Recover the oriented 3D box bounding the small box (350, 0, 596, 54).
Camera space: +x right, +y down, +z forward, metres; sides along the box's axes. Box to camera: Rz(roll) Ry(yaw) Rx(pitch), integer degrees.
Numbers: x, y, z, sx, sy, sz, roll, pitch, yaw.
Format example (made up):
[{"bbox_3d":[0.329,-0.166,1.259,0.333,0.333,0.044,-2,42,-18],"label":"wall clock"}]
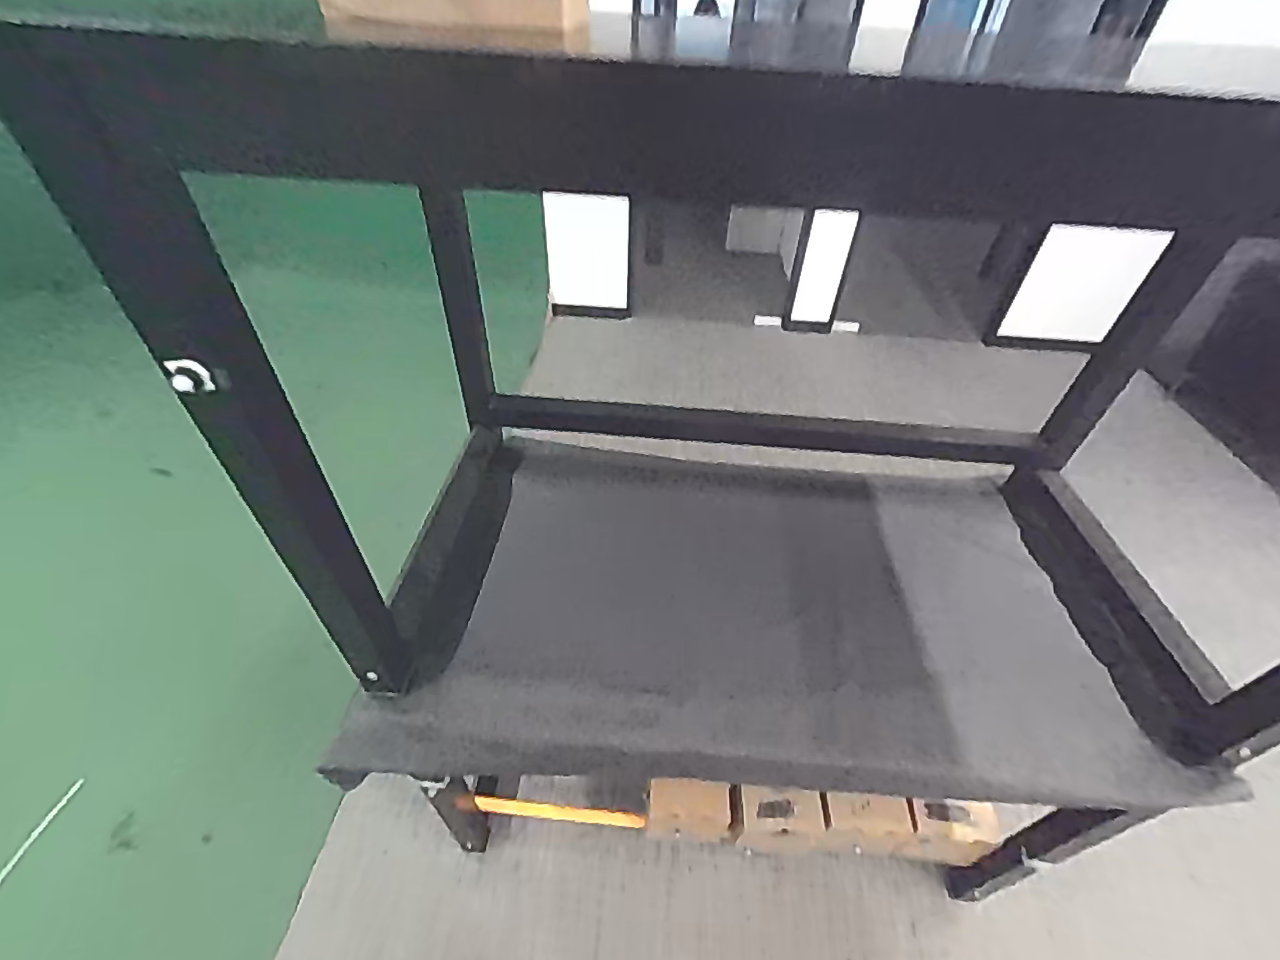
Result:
[{"bbox_3d":[-0.120,-0.424,0.387,0.168,0.176,0.179,2,43,0],"label":"small box"}]
